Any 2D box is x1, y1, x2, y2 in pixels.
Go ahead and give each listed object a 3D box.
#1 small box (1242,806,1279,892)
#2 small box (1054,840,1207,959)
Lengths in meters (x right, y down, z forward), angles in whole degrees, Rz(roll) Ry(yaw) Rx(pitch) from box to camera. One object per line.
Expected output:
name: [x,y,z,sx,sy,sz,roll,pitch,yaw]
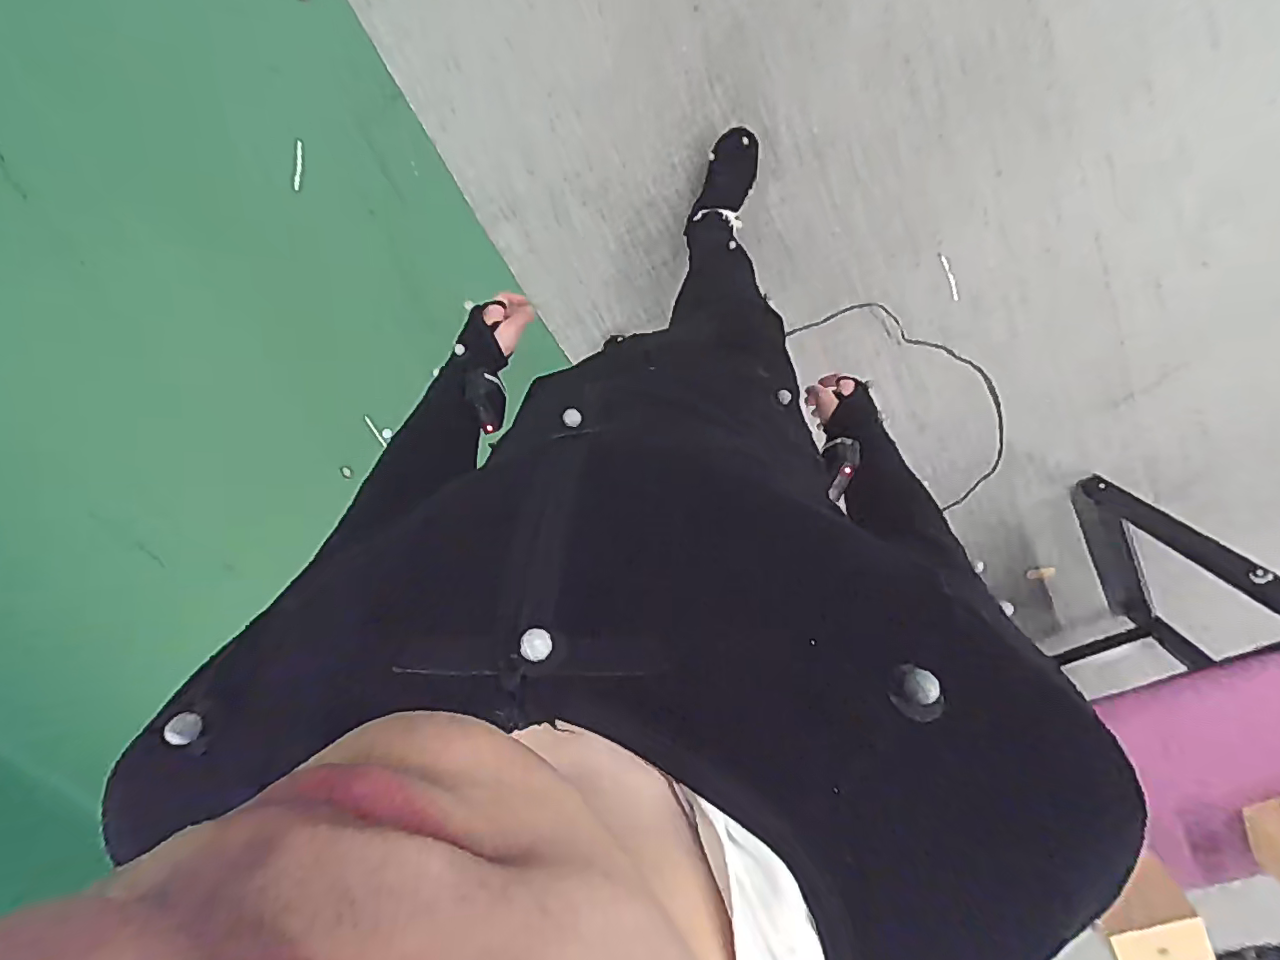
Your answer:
small box: [1.327,0.748,1.037,0.168,0.176,0.179,-27,109,15]
small box: [1.016,0.899,1.128,0.168,0.176,0.179,-26,109,14]
